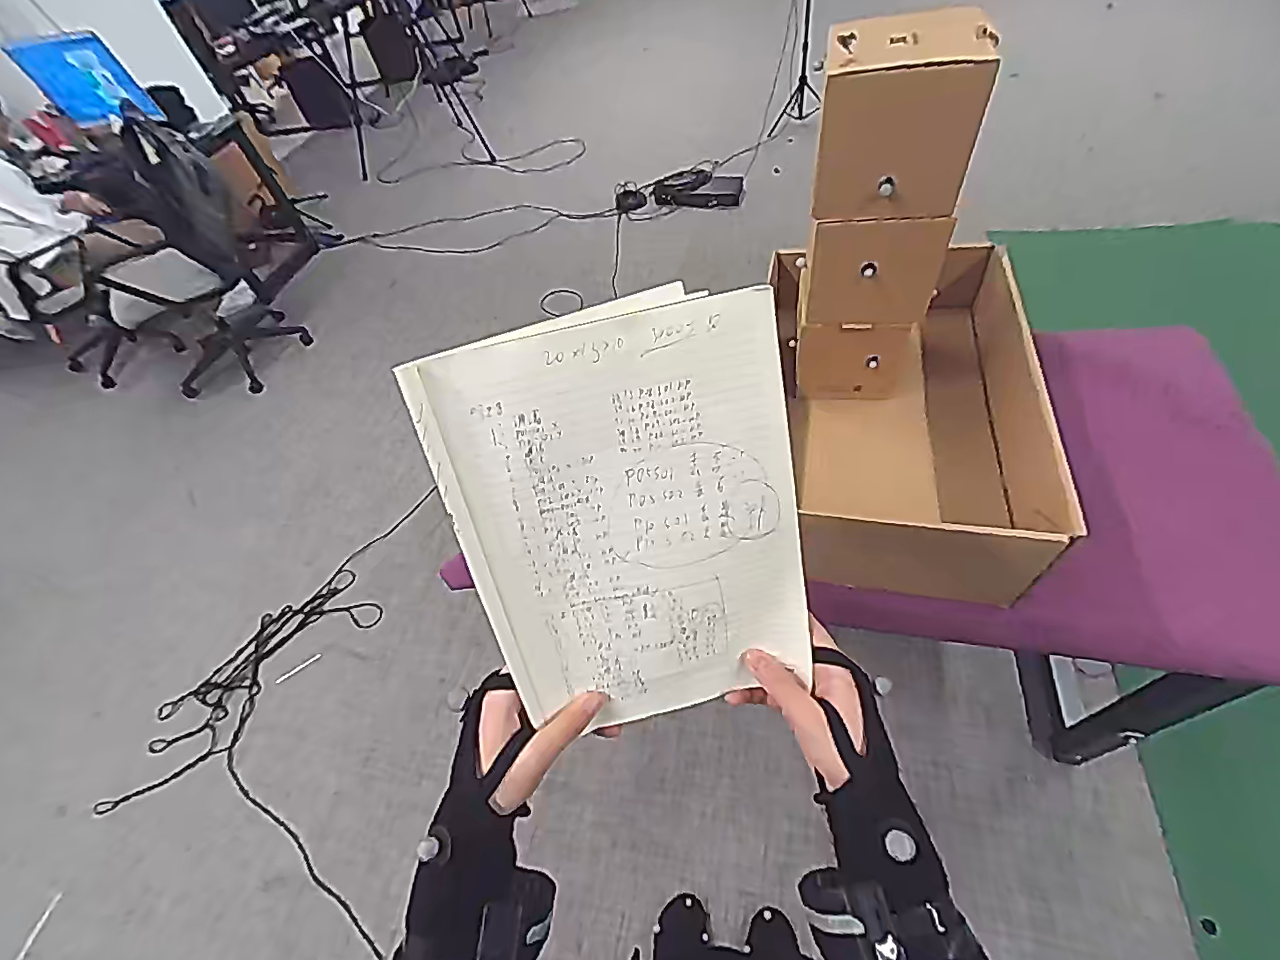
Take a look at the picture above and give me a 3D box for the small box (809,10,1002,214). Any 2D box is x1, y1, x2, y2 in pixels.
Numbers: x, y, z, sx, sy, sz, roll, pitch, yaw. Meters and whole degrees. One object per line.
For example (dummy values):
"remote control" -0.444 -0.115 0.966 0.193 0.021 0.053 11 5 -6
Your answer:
"small box" 0.320 -0.458 0.687 0.179 0.176 0.168 6 54 13

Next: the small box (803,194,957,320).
"small box" 0.346 -0.357 0.814 0.179 0.176 0.168 3 54 13
